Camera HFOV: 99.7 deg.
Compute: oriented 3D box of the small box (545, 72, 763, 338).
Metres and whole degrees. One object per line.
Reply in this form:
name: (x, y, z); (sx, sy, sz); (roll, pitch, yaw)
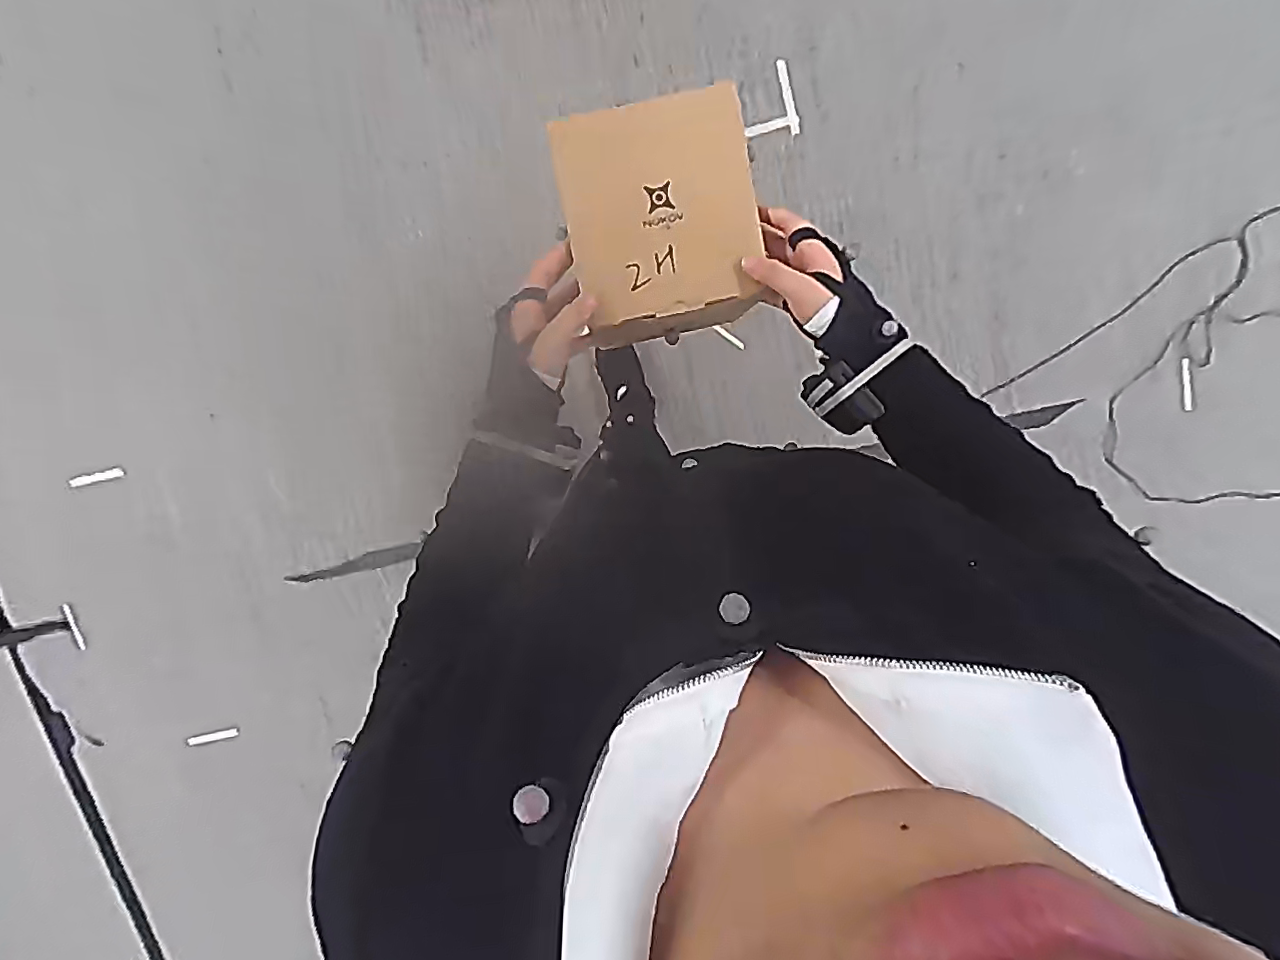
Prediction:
small box: (0.012, -0.255, 0.545); (0.168, 0.176, 0.179); (-12, 98, 1)
